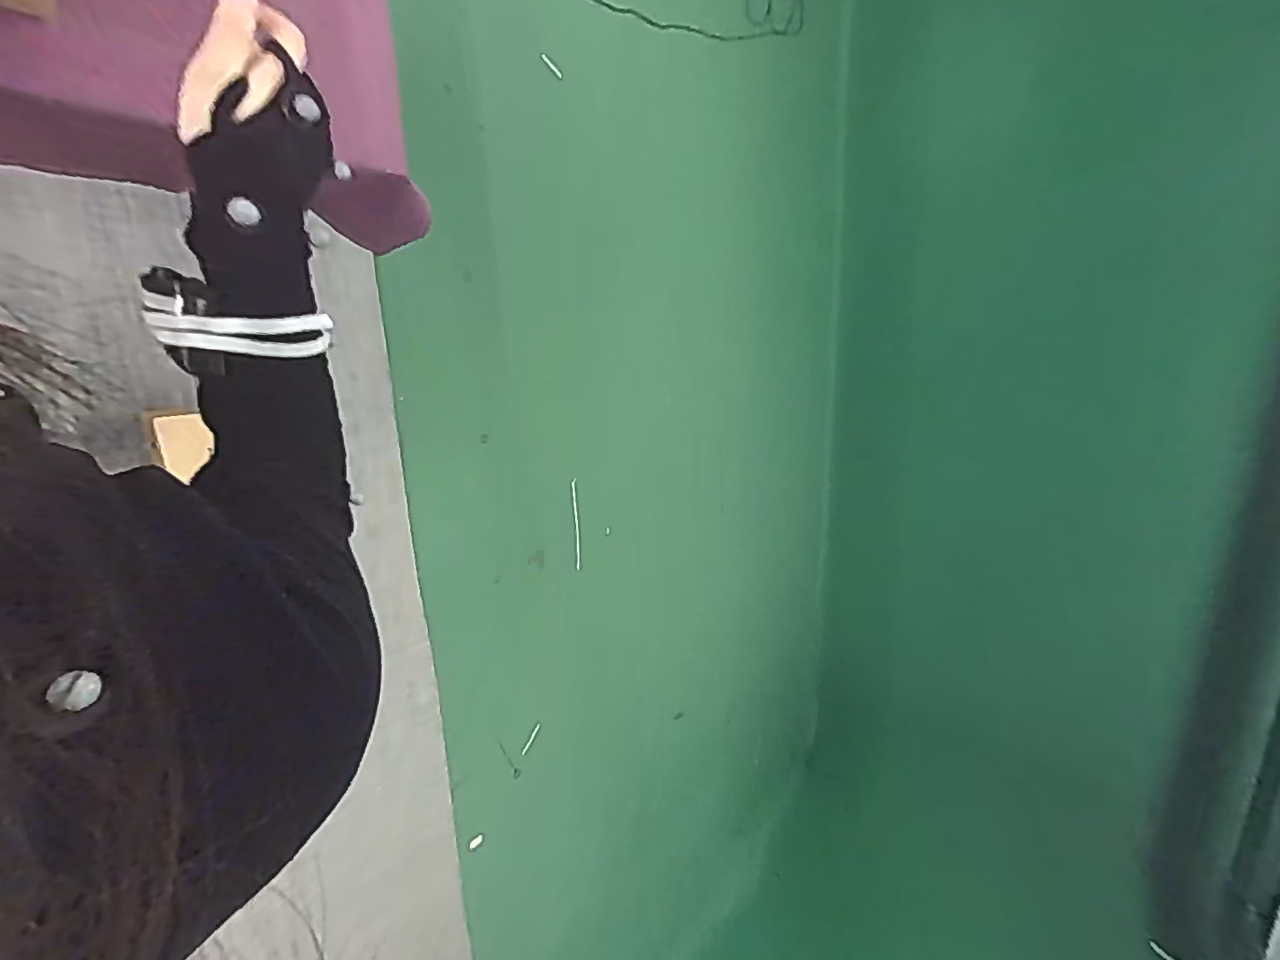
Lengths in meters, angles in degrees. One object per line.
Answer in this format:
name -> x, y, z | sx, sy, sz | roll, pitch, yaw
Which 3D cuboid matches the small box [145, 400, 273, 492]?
small box -> -0.934, -0.081, 1.169 | 0.179, 0.176, 0.168 | -20, 113, -47
